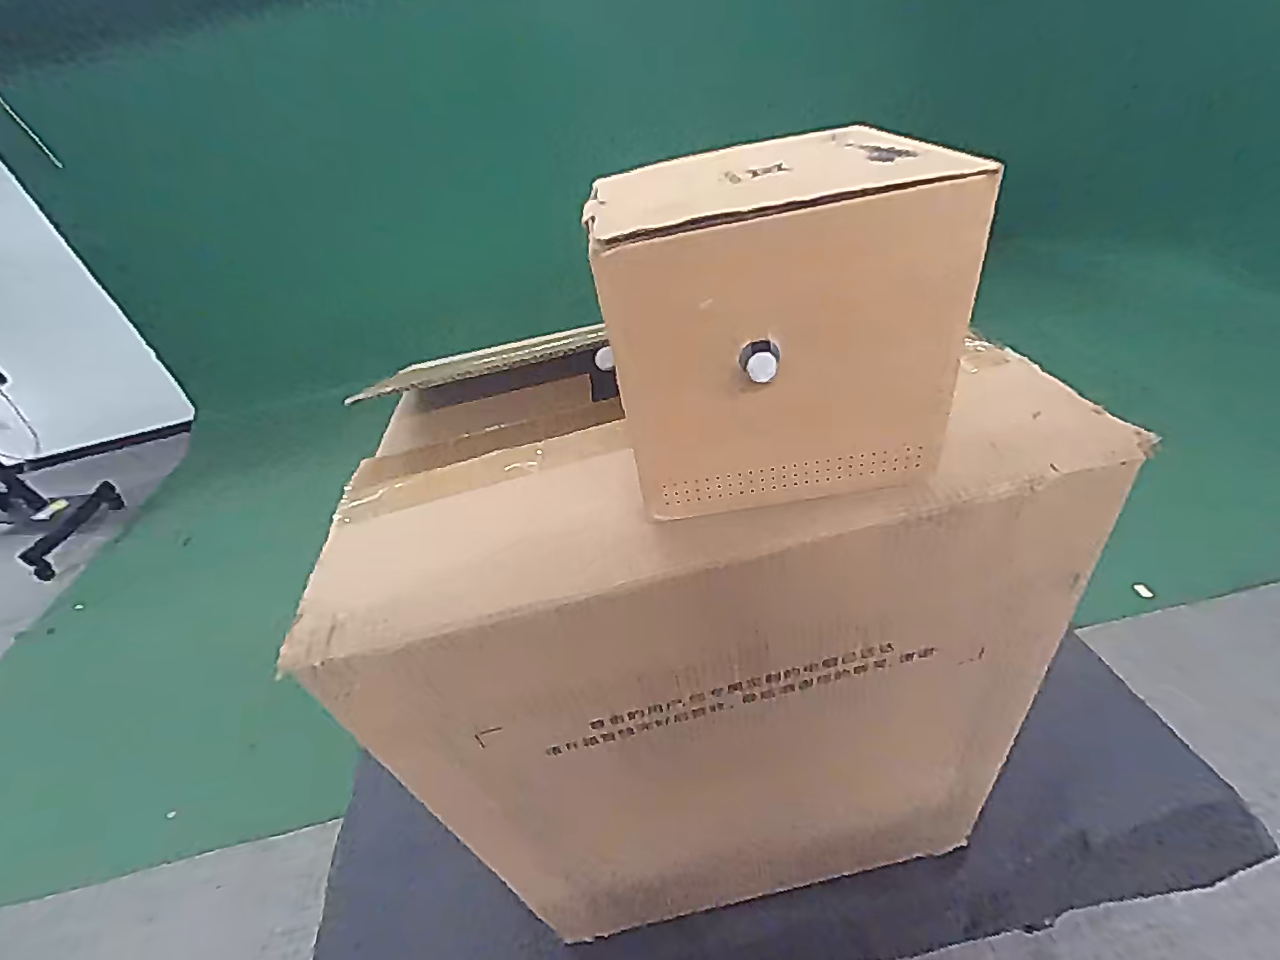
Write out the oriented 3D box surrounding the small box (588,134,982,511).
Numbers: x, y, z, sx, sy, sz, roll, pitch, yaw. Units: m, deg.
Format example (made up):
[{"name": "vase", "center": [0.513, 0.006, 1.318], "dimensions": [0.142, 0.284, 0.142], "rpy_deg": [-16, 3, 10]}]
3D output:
[{"name": "small box", "center": [0.074, -0.098, 0.344], "dimensions": [0.179, 0.176, 0.168], "rpy_deg": [-10, 38, 4]}]
